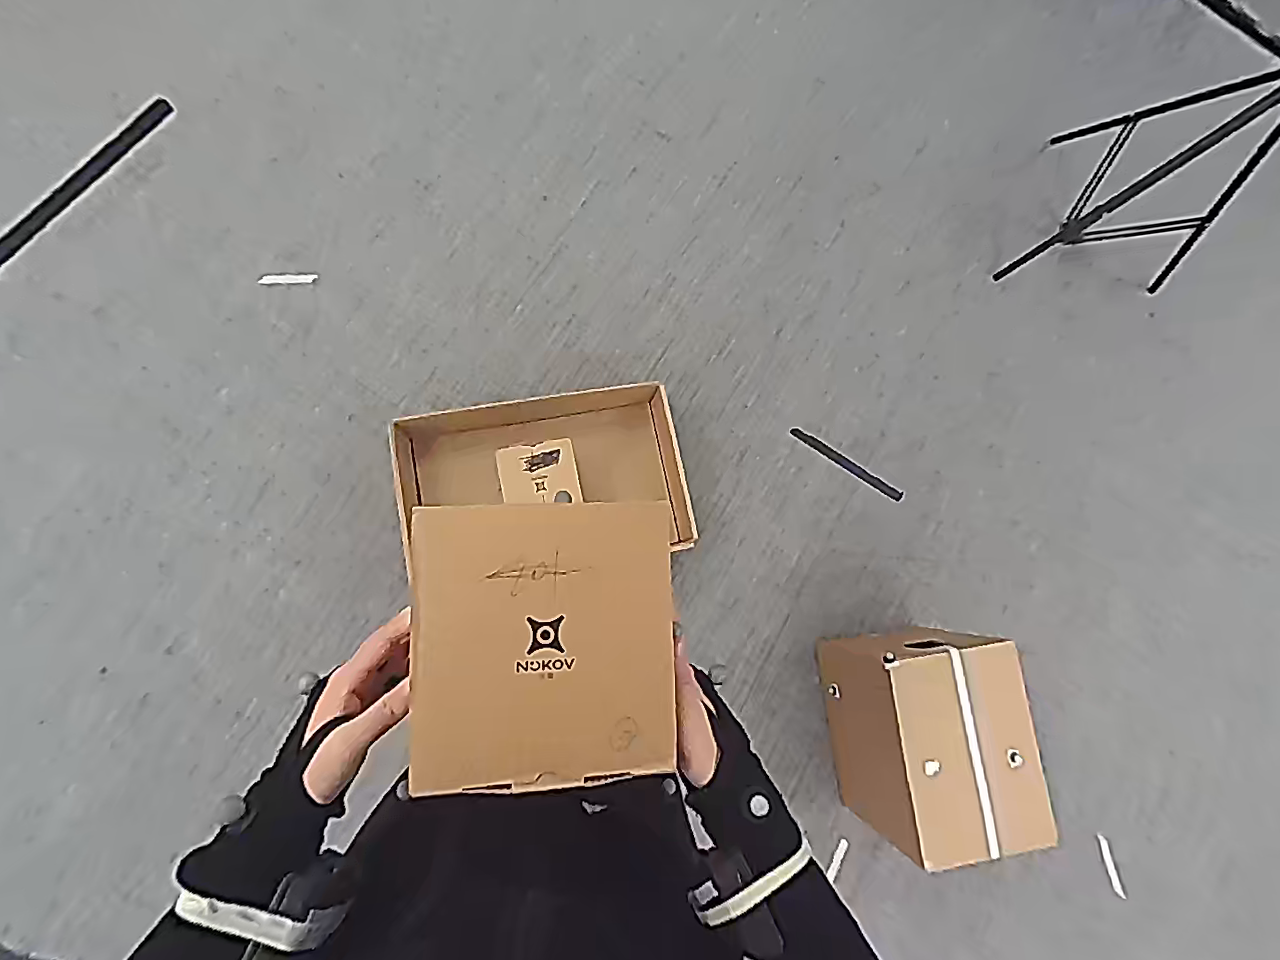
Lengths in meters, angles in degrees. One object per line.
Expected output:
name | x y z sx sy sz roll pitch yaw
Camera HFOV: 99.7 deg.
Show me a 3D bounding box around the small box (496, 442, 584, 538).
small box | -0.228 0.027 1.233 0.168 0.176 0.179 -11 83 -11
